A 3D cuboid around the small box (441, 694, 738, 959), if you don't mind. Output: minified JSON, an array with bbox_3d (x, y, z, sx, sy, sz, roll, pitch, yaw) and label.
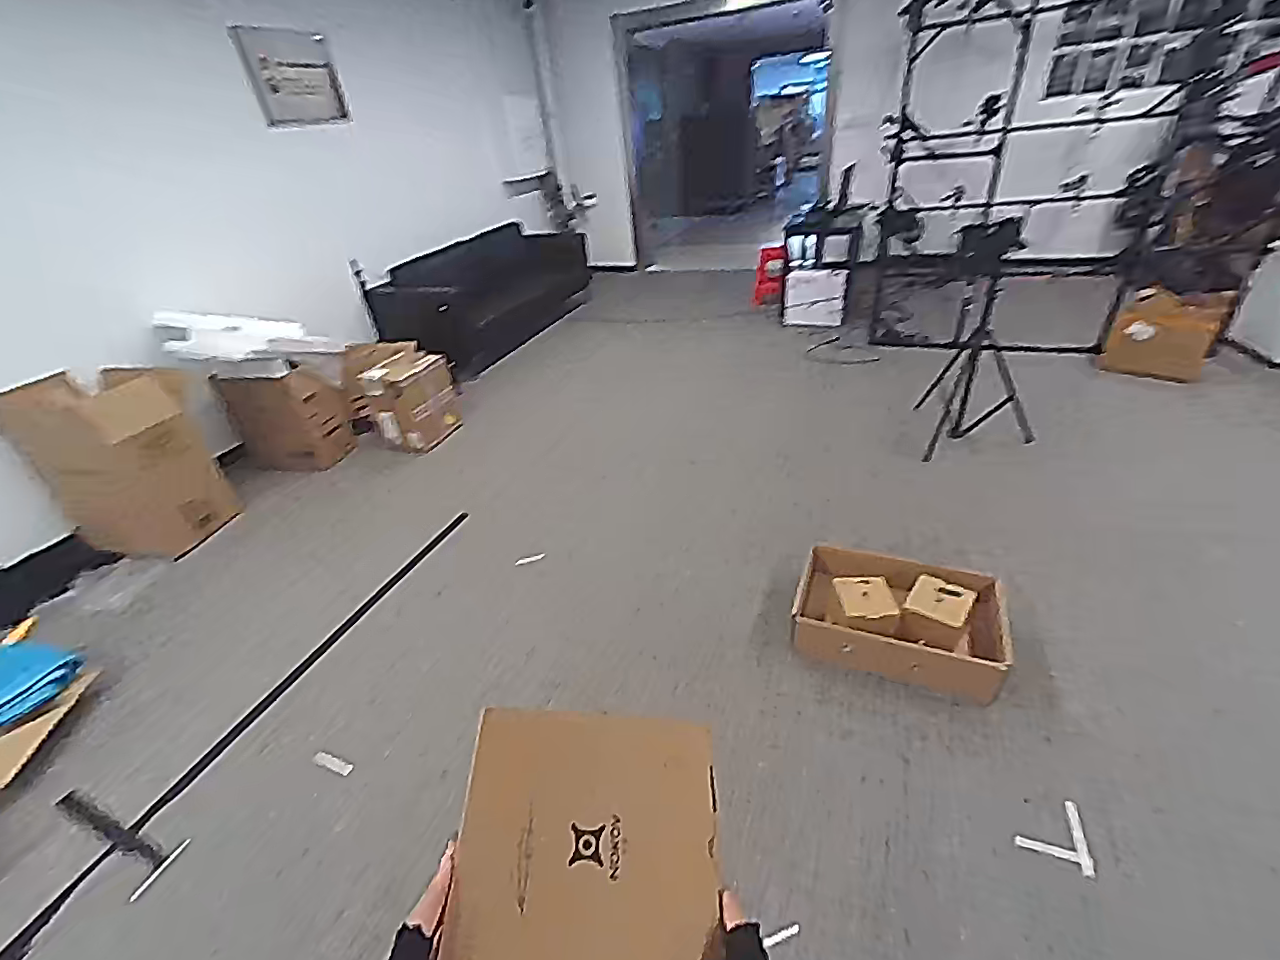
[{"bbox_3d":[-0.041,0.280,0.412,0.179,0.176,0.168,7,49,-8],"label":"small box"}]
